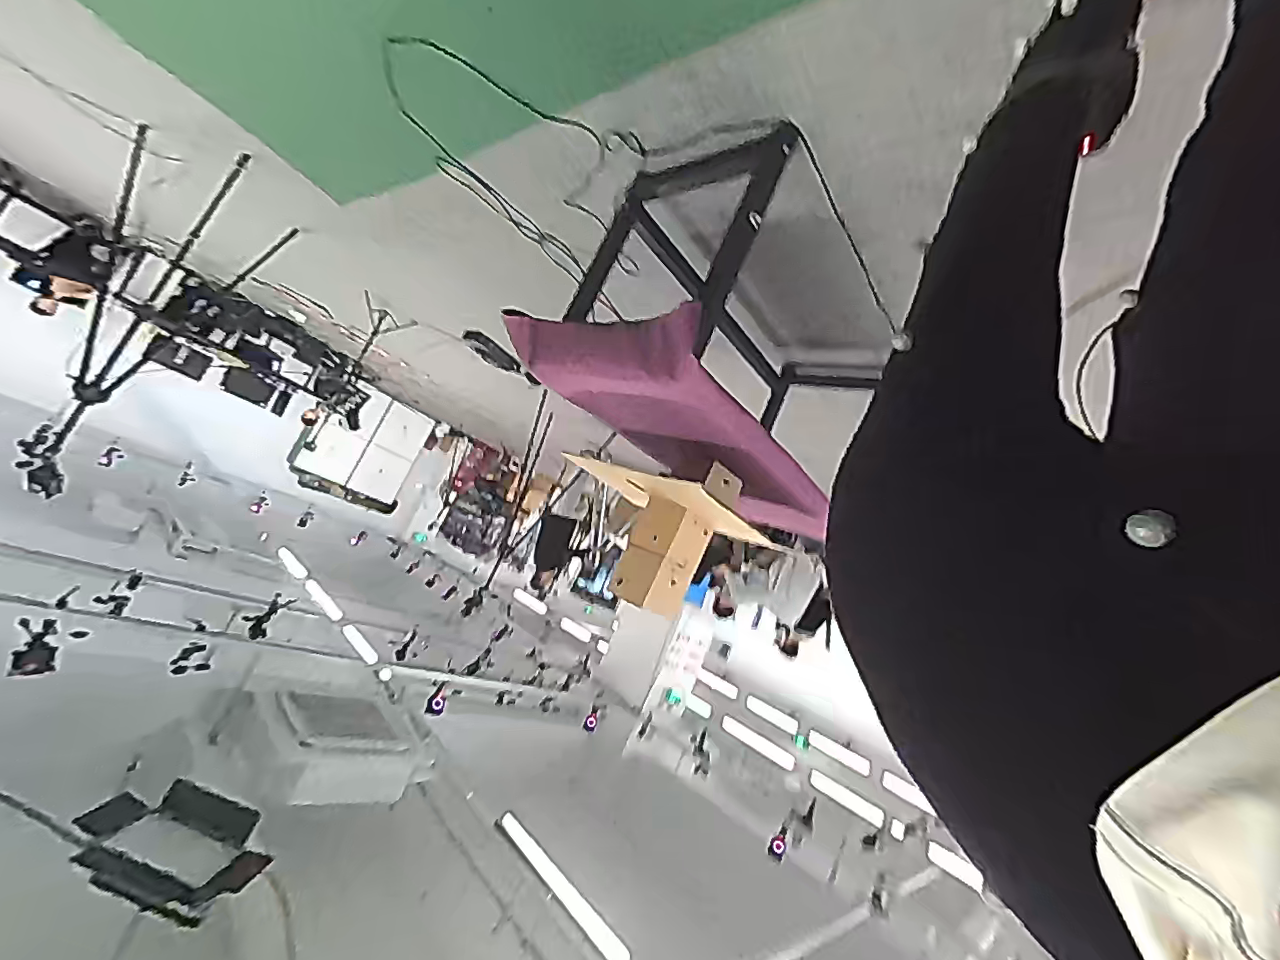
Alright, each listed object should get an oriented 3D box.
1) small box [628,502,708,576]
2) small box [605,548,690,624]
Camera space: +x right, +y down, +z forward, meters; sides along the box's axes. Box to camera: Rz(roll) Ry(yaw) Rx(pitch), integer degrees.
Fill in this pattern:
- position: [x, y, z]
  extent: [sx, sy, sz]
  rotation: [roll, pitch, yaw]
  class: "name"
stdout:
- position: [0.100, 0.187, 1.751]
  extent: [0.179, 0.176, 0.168]
  rotation: [15, 164, 47]
  class: "small box"
- position: [0.027, 0.332, 1.721]
  extent: [0.179, 0.176, 0.168]
  rotation: [14, 163, 46]
  class: "small box"
